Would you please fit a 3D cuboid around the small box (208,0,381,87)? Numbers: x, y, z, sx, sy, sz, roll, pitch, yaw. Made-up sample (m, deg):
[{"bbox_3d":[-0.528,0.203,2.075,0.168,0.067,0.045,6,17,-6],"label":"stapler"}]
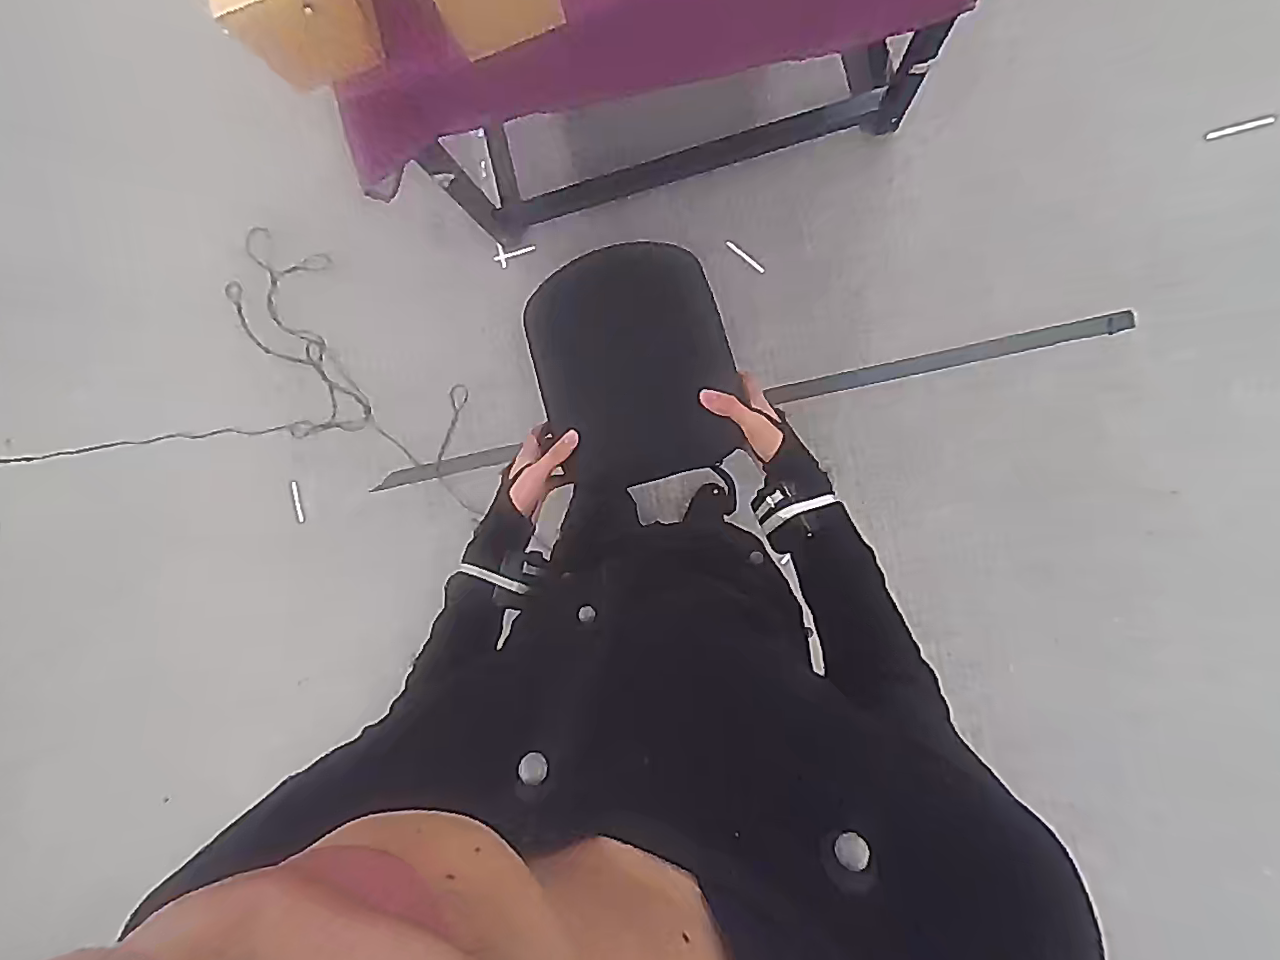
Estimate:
[{"bbox_3d":[-0.554,-0.780,0.863,0.179,0.176,0.168,-14,90,7],"label":"small box"}]
